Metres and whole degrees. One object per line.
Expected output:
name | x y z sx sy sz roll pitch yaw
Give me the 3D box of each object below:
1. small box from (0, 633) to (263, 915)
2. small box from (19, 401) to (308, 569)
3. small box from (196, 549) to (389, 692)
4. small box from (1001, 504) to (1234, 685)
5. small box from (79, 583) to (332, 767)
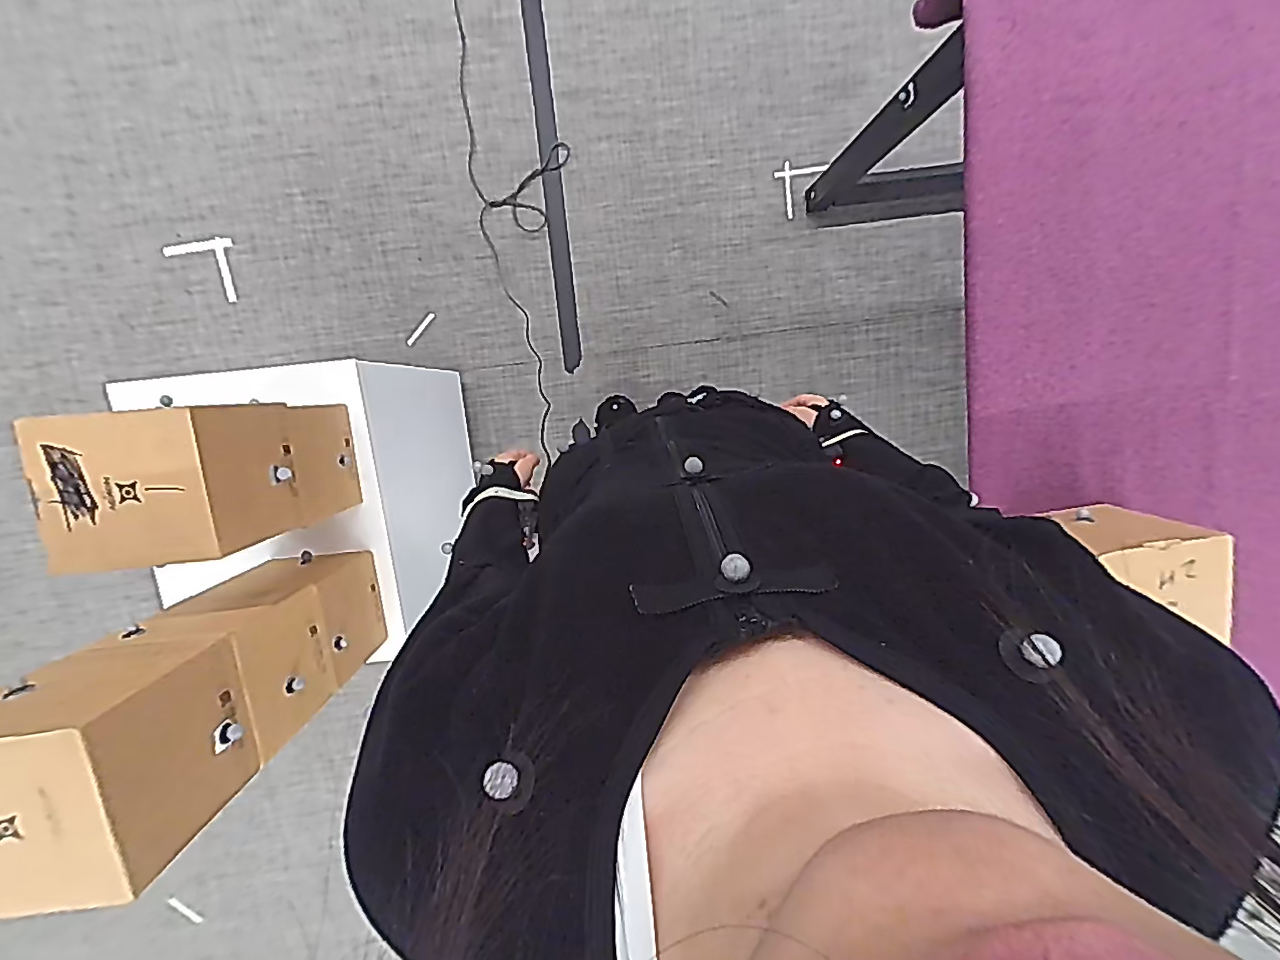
small box | -0.515 0.265 0.517 0.179 0.176 0.168 -7 100 -1
small box | -0.533 -0.004 0.634 0.179 0.176 0.168 -4 100 -2
small box | -0.522 0.214 0.838 0.179 0.176 0.168 -5 100 1
small box | 0.614 0.141 0.718 0.168 0.176 0.179 -8 99 -1
small box | -0.517 0.240 0.677 0.179 0.176 0.168 -7 100 0
